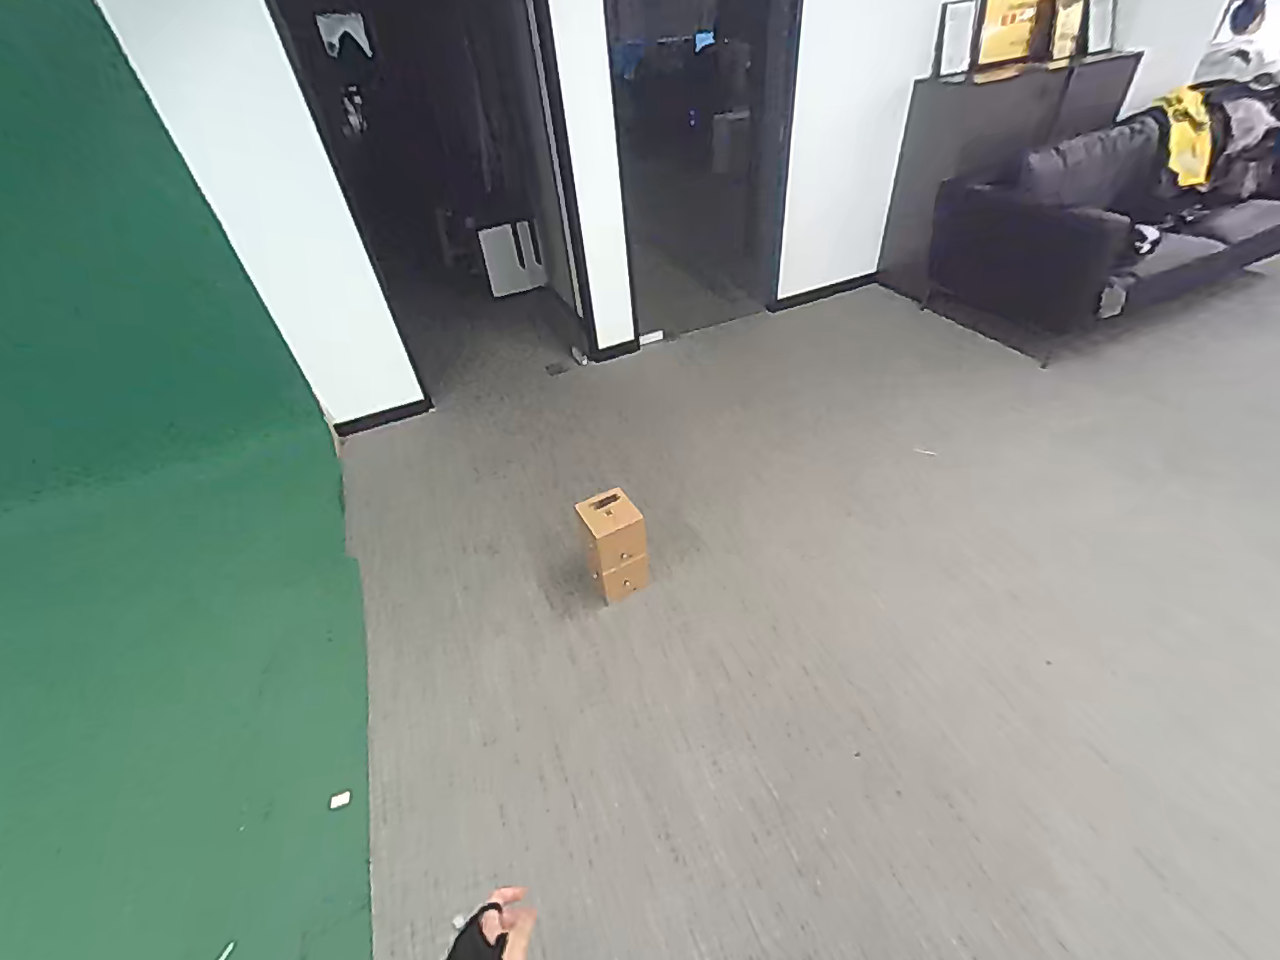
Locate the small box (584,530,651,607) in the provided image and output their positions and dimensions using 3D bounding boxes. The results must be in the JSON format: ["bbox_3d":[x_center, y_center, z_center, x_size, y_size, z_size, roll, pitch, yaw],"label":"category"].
[{"bbox_3d":[-0.073,0.311,1.861,0.168,0.176,0.179,-23,44,-19],"label":"small box"}]
